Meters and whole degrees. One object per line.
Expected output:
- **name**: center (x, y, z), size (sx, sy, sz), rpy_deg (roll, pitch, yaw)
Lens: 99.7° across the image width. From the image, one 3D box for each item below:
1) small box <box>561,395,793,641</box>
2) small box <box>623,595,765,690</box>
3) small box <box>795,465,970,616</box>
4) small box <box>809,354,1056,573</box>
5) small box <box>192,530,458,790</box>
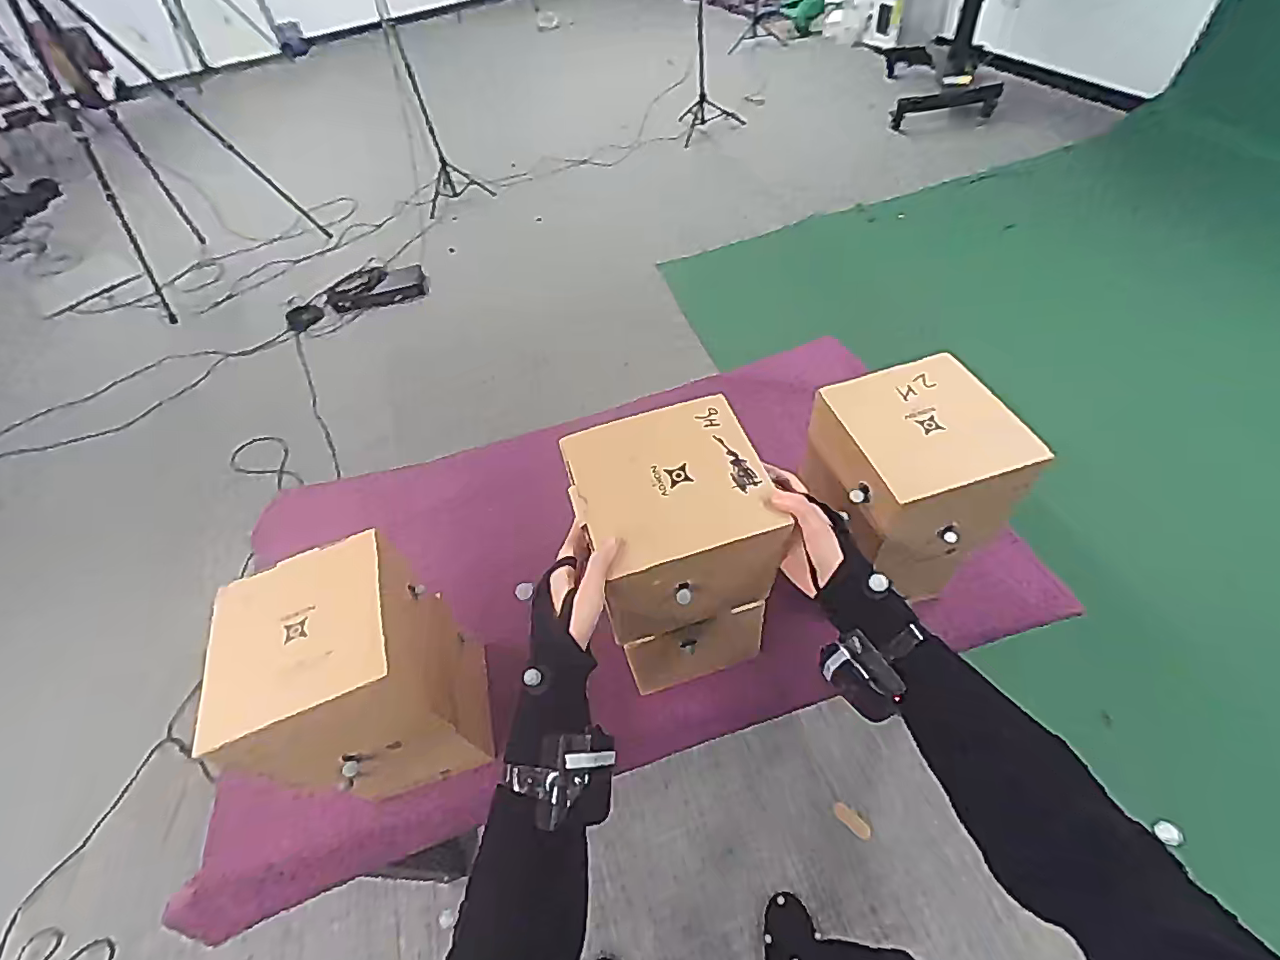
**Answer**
- **small box**: center (0.033, 0.046, 0.561), size (0.179, 0.176, 0.168), rpy_deg (-17, 56, -7)
- **small box**: center (0.058, 0.164, 0.741), size (0.179, 0.176, 0.168), rpy_deg (-16, 50, -5)
- **small box**: center (0.334, 0.077, 0.769), size (0.168, 0.176, 0.179), rpy_deg (-13, 51, -1)
- **small box**: center (0.315, -0.011, 0.630), size (0.168, 0.176, 0.179), rpy_deg (-16, 51, -3)
- **small box**: center (-0.308, 0.189, 0.565), size (0.168, 0.176, 0.179), rpy_deg (-21, 51, -8)
